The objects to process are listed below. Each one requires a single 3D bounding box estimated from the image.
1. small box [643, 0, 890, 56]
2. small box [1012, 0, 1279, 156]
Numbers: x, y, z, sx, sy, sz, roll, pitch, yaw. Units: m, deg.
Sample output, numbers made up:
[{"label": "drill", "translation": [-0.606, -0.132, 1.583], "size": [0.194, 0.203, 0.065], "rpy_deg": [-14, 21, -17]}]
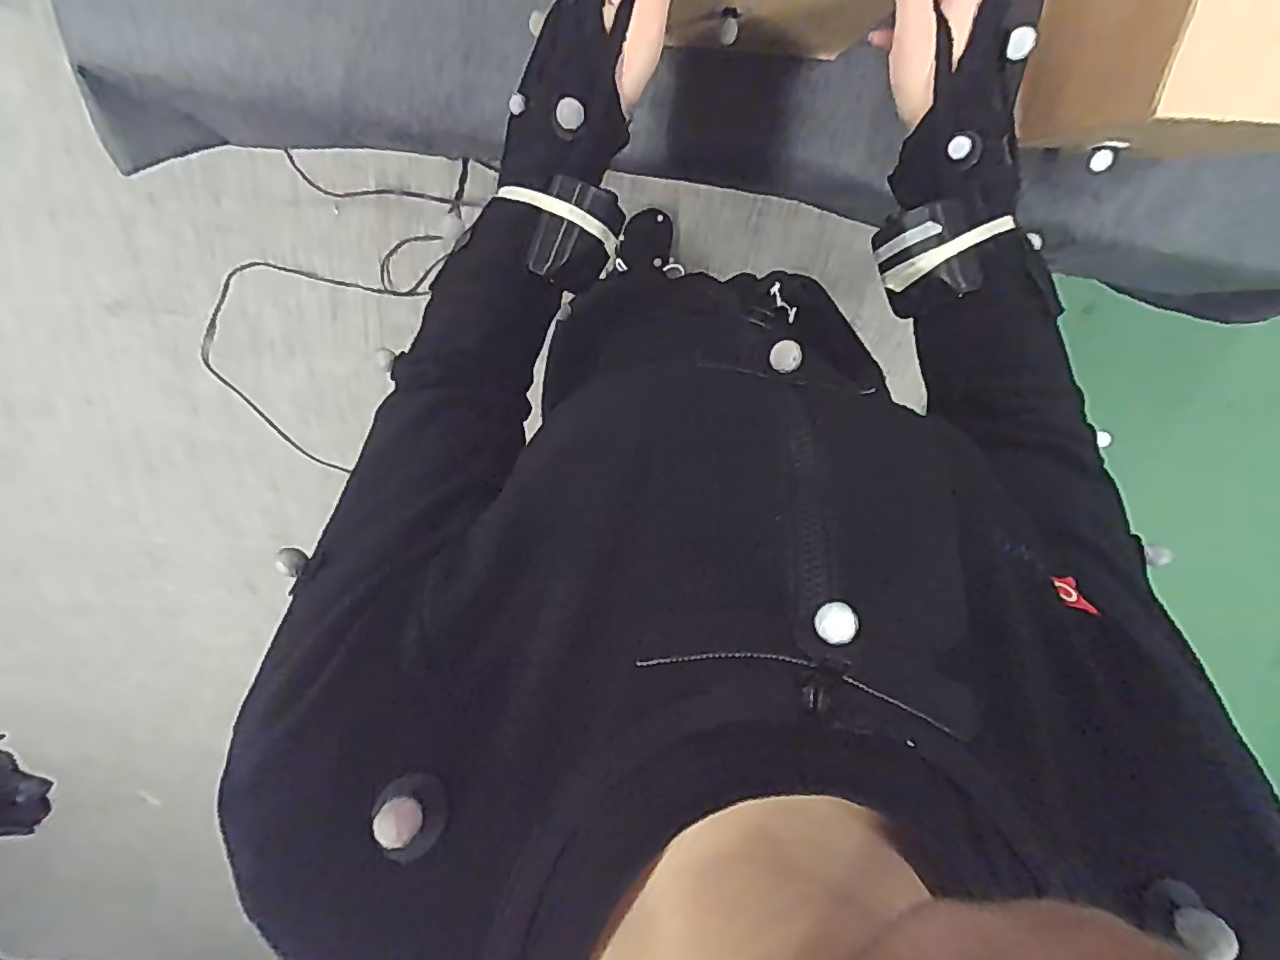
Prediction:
[{"label": "small box", "translation": [0.089, -0.401, 0.346], "size": [0.168, 0.176, 0.179], "rpy_deg": [3, 116, -2]}, {"label": "small box", "translation": [0.407, -0.339, 0.377], "size": [0.168, 0.176, 0.179], "rpy_deg": [3, 117, 0]}]
